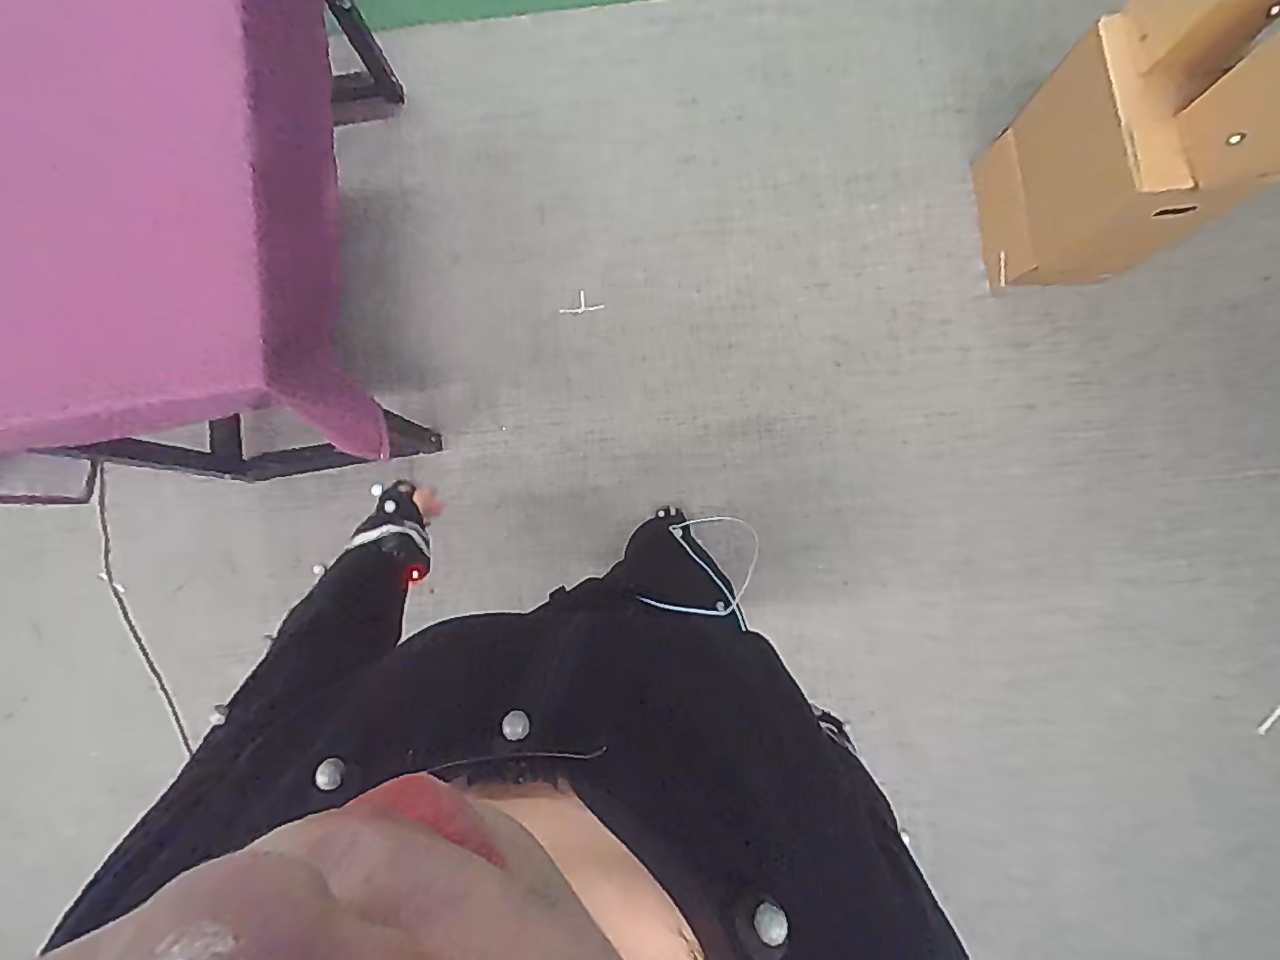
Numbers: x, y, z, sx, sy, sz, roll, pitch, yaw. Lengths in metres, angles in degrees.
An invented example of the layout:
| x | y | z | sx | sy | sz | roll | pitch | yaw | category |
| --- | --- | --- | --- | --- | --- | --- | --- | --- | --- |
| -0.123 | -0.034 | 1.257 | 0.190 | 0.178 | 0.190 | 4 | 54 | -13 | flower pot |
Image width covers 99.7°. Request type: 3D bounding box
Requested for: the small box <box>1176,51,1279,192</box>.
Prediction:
| x | y | z | sx | sy | sz | roll | pitch | yaw | category |
| --- | --- | --- | --- | --- | --- | --- | --- | --- | --- |
| 1.196 | -0.677 | 1.031 | 0.168 | 0.176 | 0.179 | -6 | 82 | 0 | small box |

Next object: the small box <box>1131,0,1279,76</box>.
| x | y | z | sx | sy | sz | roll | pitch | yaw | category |
| --- | --- | --- | --- | --- | --- | --- | --- | --- | --- |
| 1.116 | -0.933 | 1.059 | 0.179 | 0.176 | 0.168 | -4 | 85 | 0 | small box |
